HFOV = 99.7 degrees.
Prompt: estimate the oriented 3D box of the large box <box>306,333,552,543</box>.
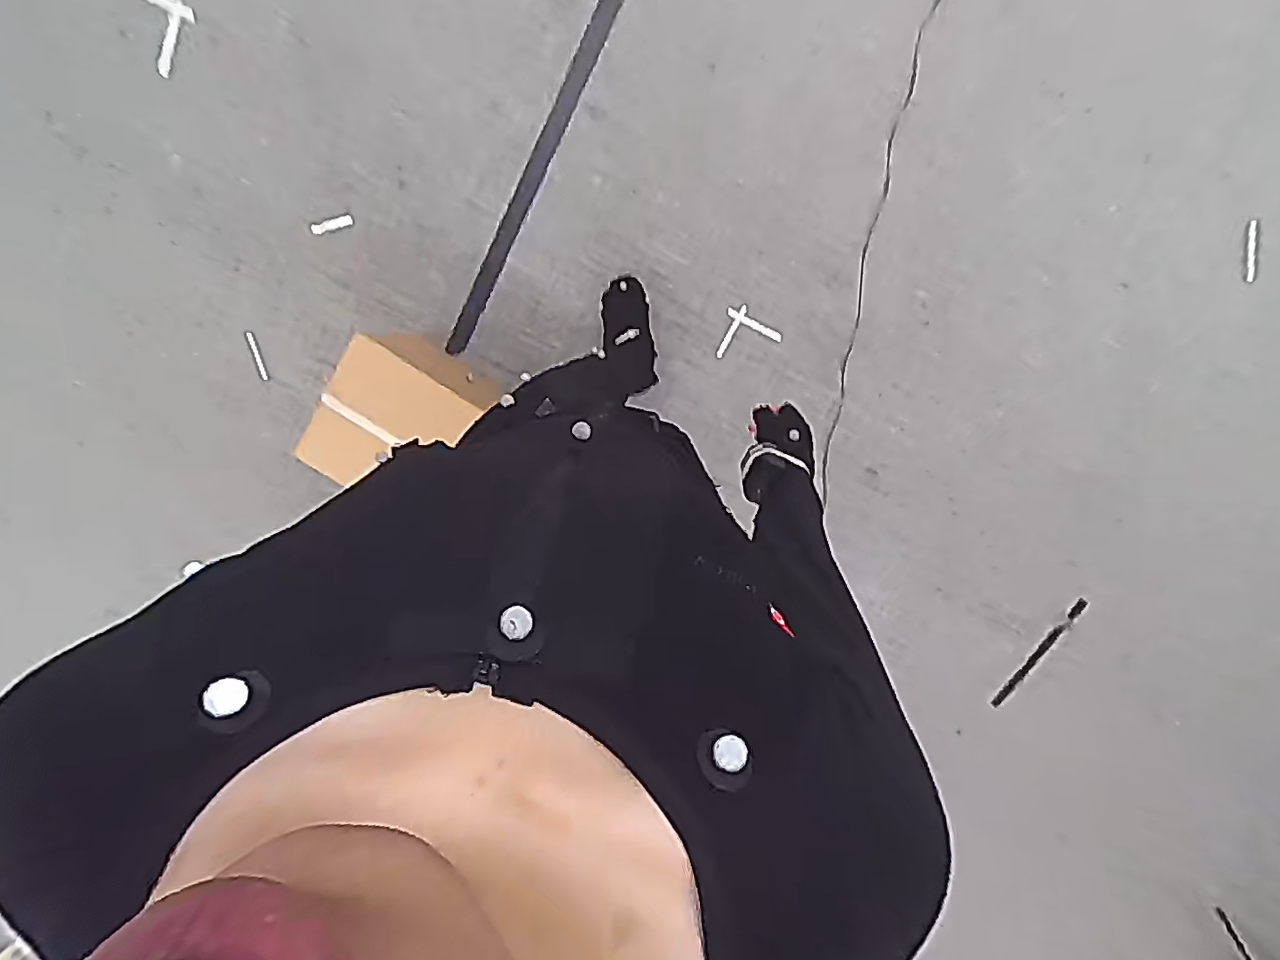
[{"bbox_3d":[-0.480,-0.115,1.309,0.408,0.320,0.320,32,102,-7],"label":"large box"}]
